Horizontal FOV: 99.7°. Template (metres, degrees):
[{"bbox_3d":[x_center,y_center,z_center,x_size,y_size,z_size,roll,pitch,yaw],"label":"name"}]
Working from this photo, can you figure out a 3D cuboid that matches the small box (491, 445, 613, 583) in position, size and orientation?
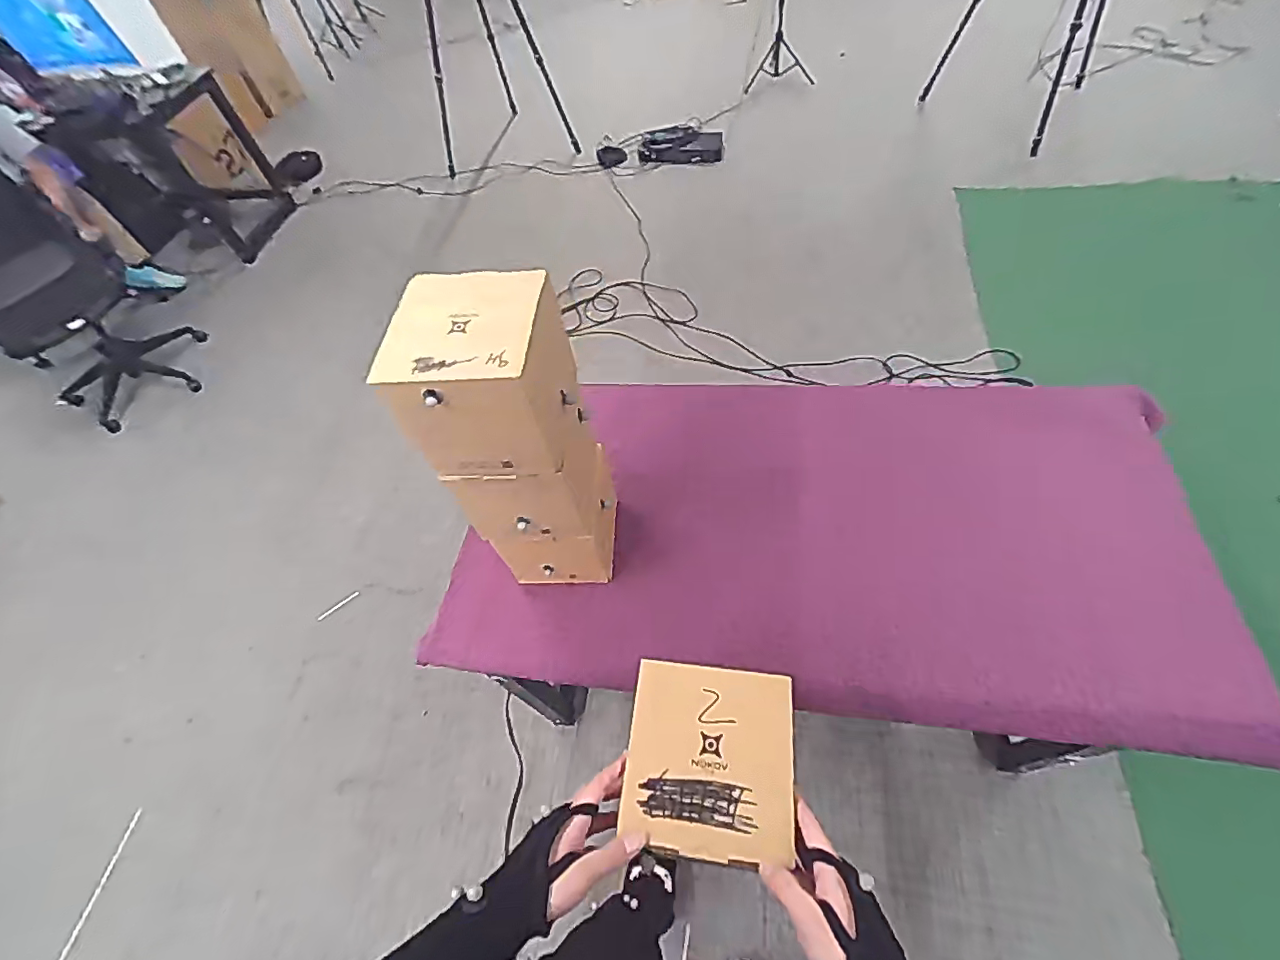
[{"bbox_3d":[-0.140,0.059,0.917,0.168,0.176,0.179,-2,56,7],"label":"small box"}]

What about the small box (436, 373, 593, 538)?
[{"bbox_3d":[-0.166,-0.032,0.783,0.168,0.176,0.179,-3,56,6],"label":"small box"}]

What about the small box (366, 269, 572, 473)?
[{"bbox_3d":[-0.185,-0.126,0.649,0.168,0.176,0.179,-1,55,8],"label":"small box"}]
